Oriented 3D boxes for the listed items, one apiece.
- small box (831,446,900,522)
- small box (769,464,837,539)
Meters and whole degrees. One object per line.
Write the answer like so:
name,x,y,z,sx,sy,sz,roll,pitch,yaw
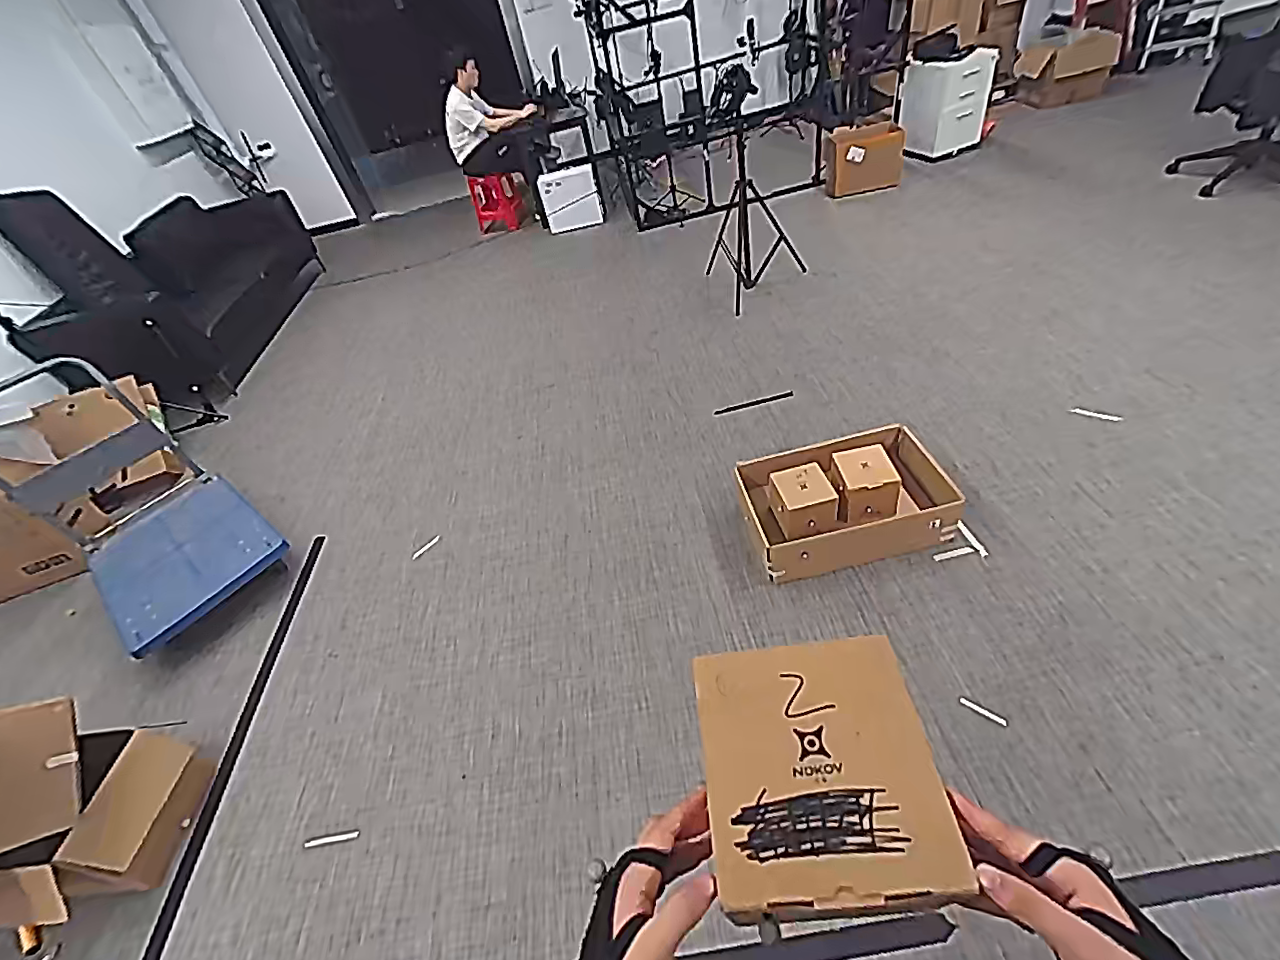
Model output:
small box,0.748,0.015,1.815,0.168,0.176,0.179,-11,44,6
small box,0.540,0.078,1.804,0.168,0.176,0.179,-14,43,-1
